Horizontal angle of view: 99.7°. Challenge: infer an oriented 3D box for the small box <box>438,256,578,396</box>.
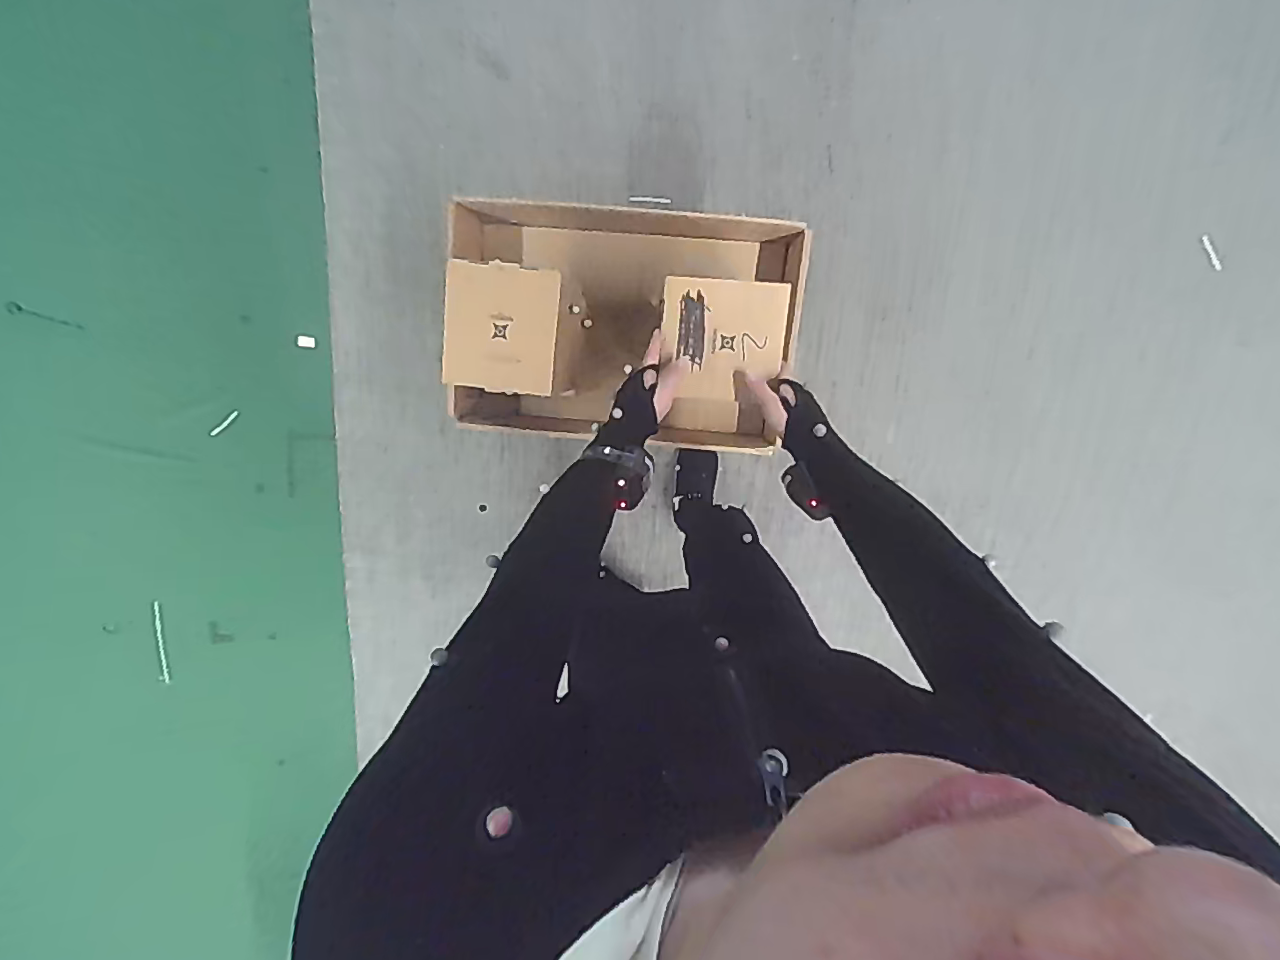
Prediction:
[{"bbox_3d":[-0.196,-0.232,0.841,0.168,0.176,0.179,8,102,3],"label":"small box"}]
